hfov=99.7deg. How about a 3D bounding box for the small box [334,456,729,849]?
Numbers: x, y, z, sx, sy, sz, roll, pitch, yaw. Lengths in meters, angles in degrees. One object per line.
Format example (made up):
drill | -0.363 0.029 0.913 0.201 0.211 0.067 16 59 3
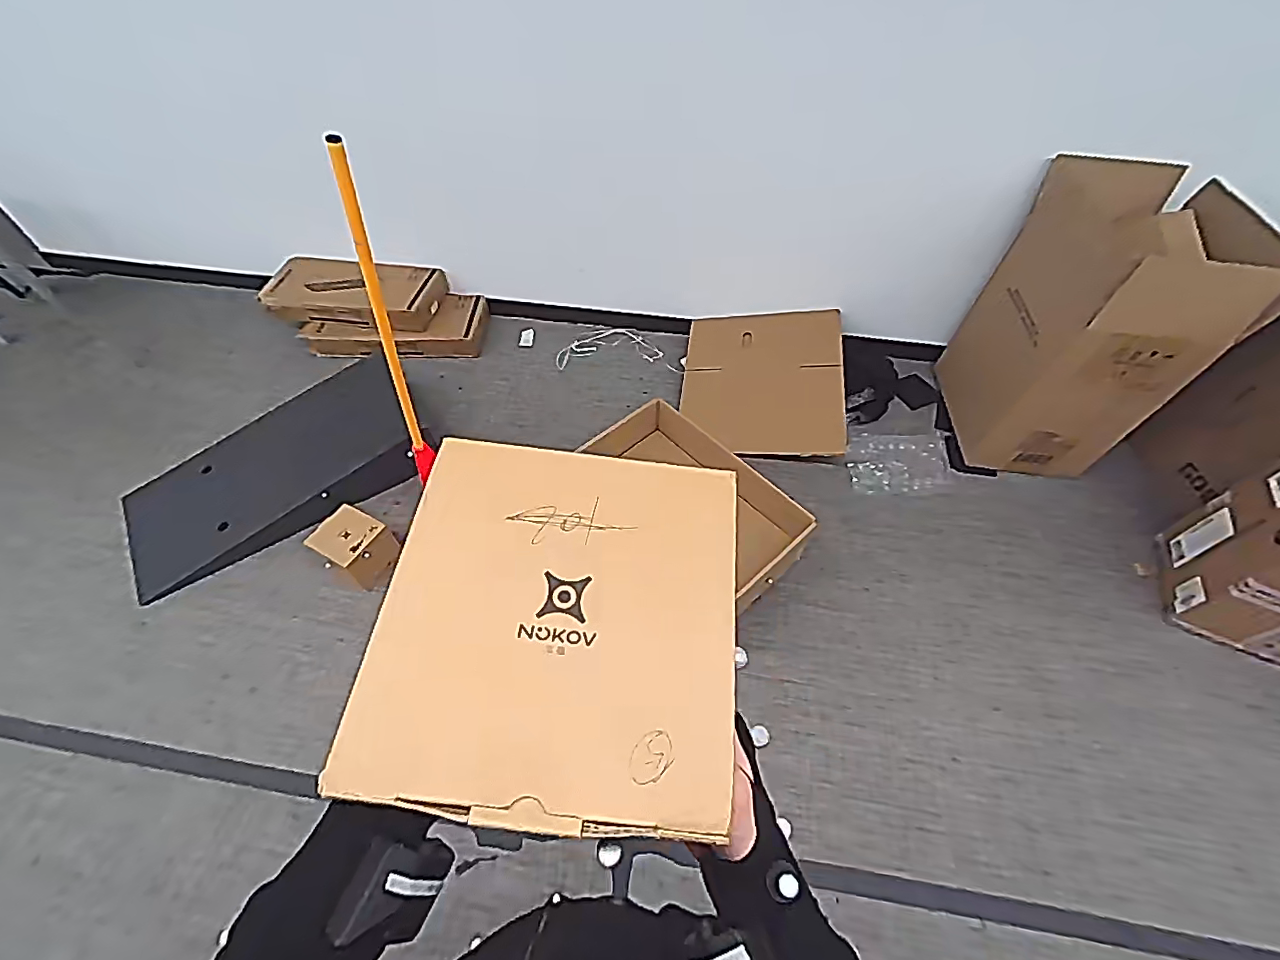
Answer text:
small box | -0.044 0.111 0.334 0.168 0.176 0.179 7 57 -1
